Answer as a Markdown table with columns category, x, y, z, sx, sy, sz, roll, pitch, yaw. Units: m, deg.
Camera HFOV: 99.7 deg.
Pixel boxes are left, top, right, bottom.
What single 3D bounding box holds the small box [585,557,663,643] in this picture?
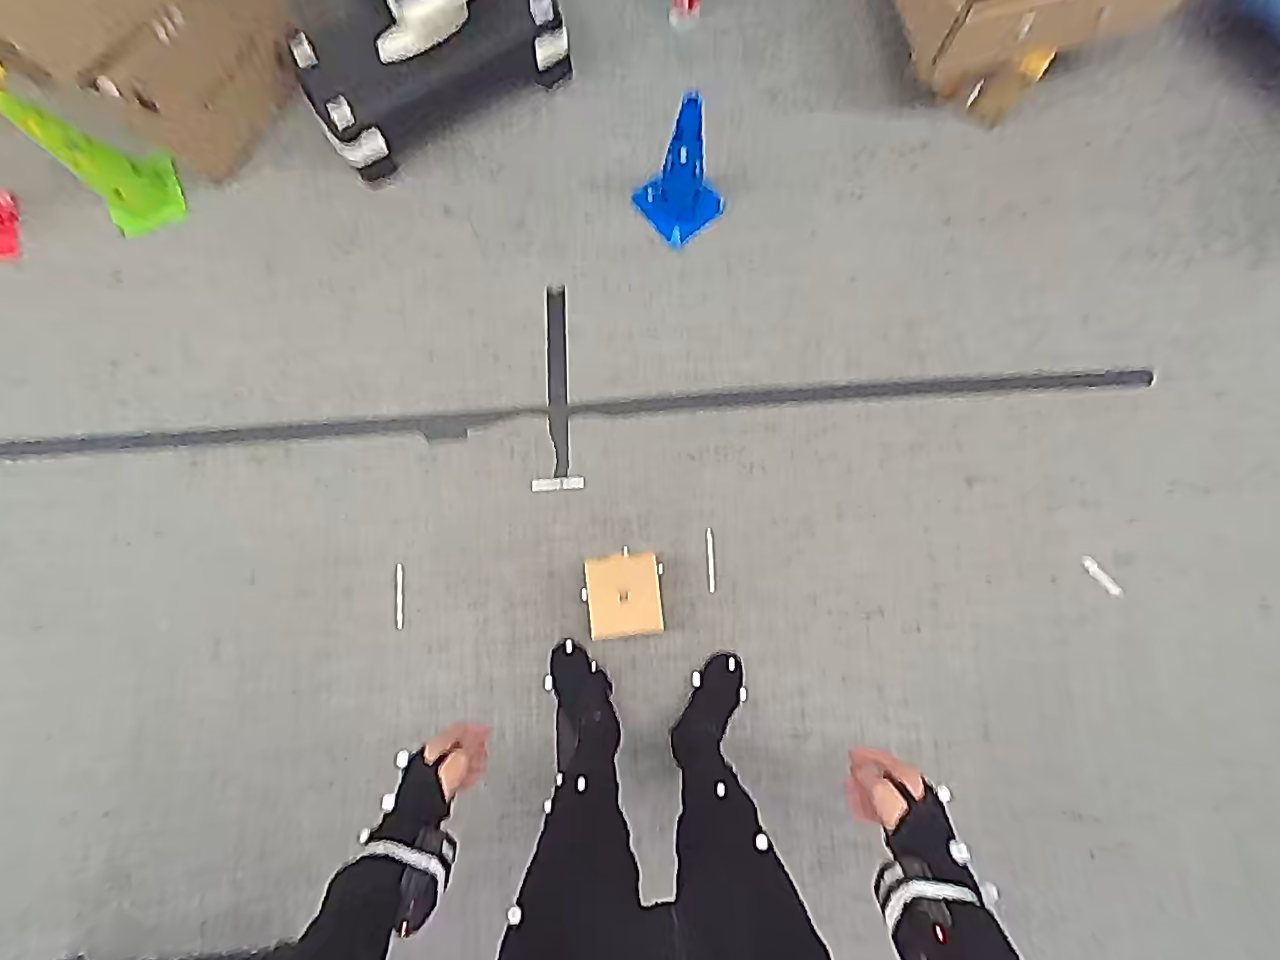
| category | x | y | z | sx | sy | sz | roll | pitch | yaw |
| --- | --- | --- | --- | --- | --- | --- | --- | --- | --- |
| small box | -0.036 | 0.282 | 1.302 | 0.168 | 0.176 | 0.179 | -6 | 83 | -1 |
